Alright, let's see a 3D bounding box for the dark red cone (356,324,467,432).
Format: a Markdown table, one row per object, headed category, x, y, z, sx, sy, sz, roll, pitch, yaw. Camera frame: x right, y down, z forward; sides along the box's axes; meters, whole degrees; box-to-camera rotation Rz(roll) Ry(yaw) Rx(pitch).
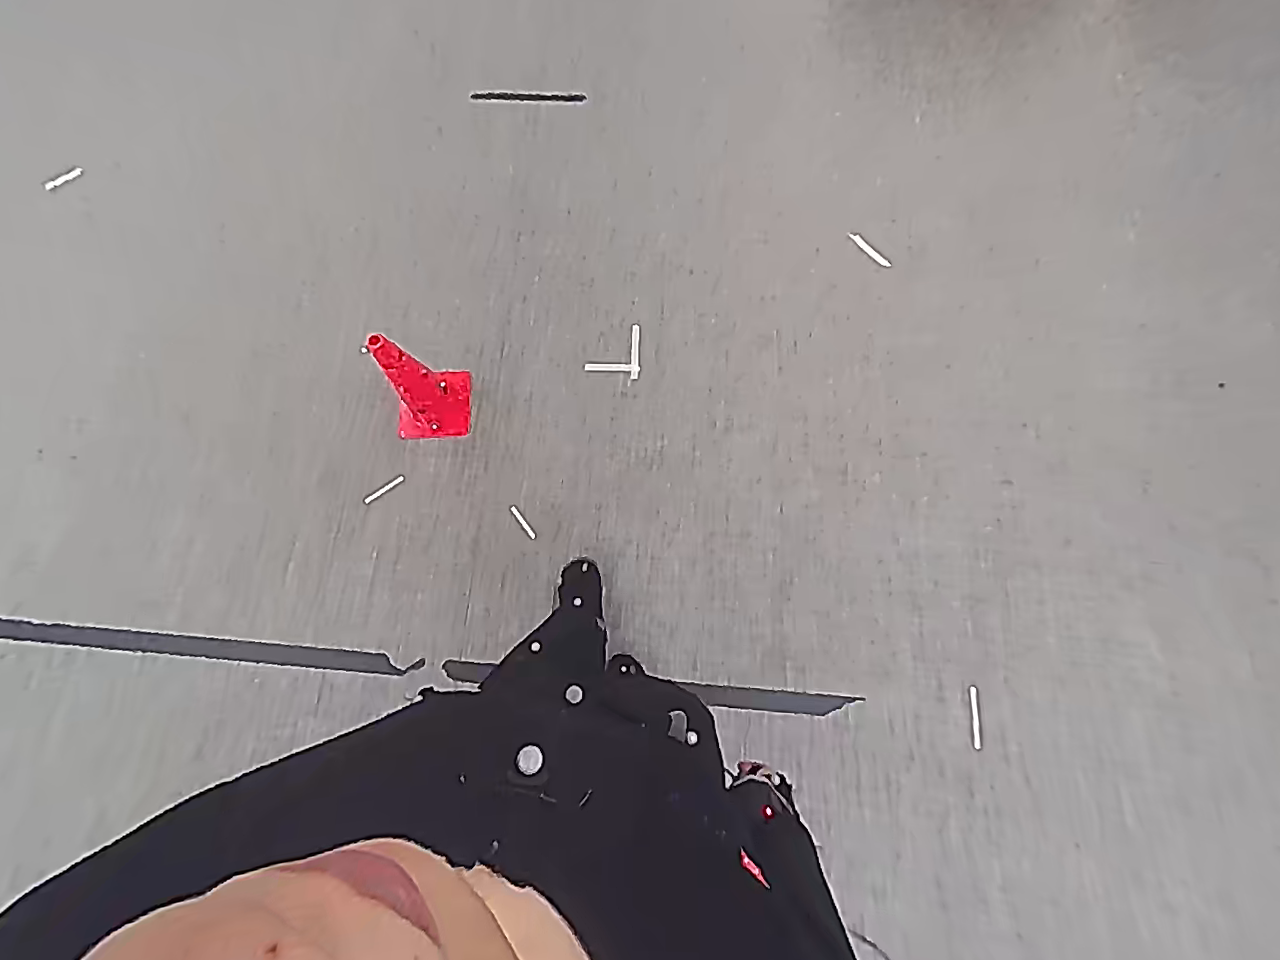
| category | x | y | z | sx | sy | sz | roll | pitch | yaw |
| --- | --- | --- | --- | --- | --- | --- | --- | --- | --- |
| dark red cone | -0.579 | -0.267 | 1.321 | 0.202 | 0.394 | 0.201 | -3 | 76 | 0 |
